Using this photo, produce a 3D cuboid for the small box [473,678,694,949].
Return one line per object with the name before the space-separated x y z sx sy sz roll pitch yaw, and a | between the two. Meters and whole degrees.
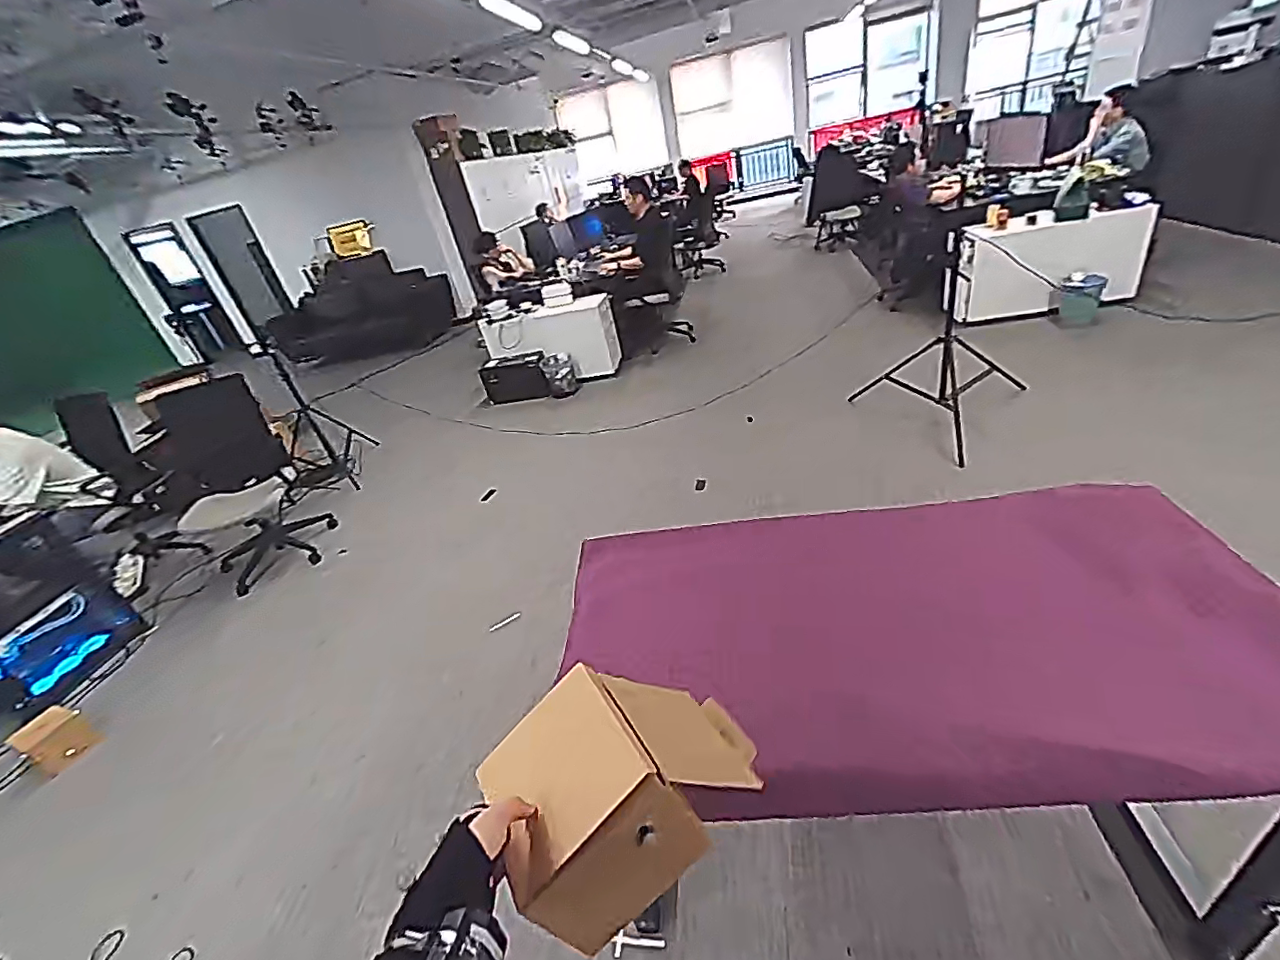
small box | -0.057 0.375 0.619 0.179 0.176 0.168 -35 35 -13
